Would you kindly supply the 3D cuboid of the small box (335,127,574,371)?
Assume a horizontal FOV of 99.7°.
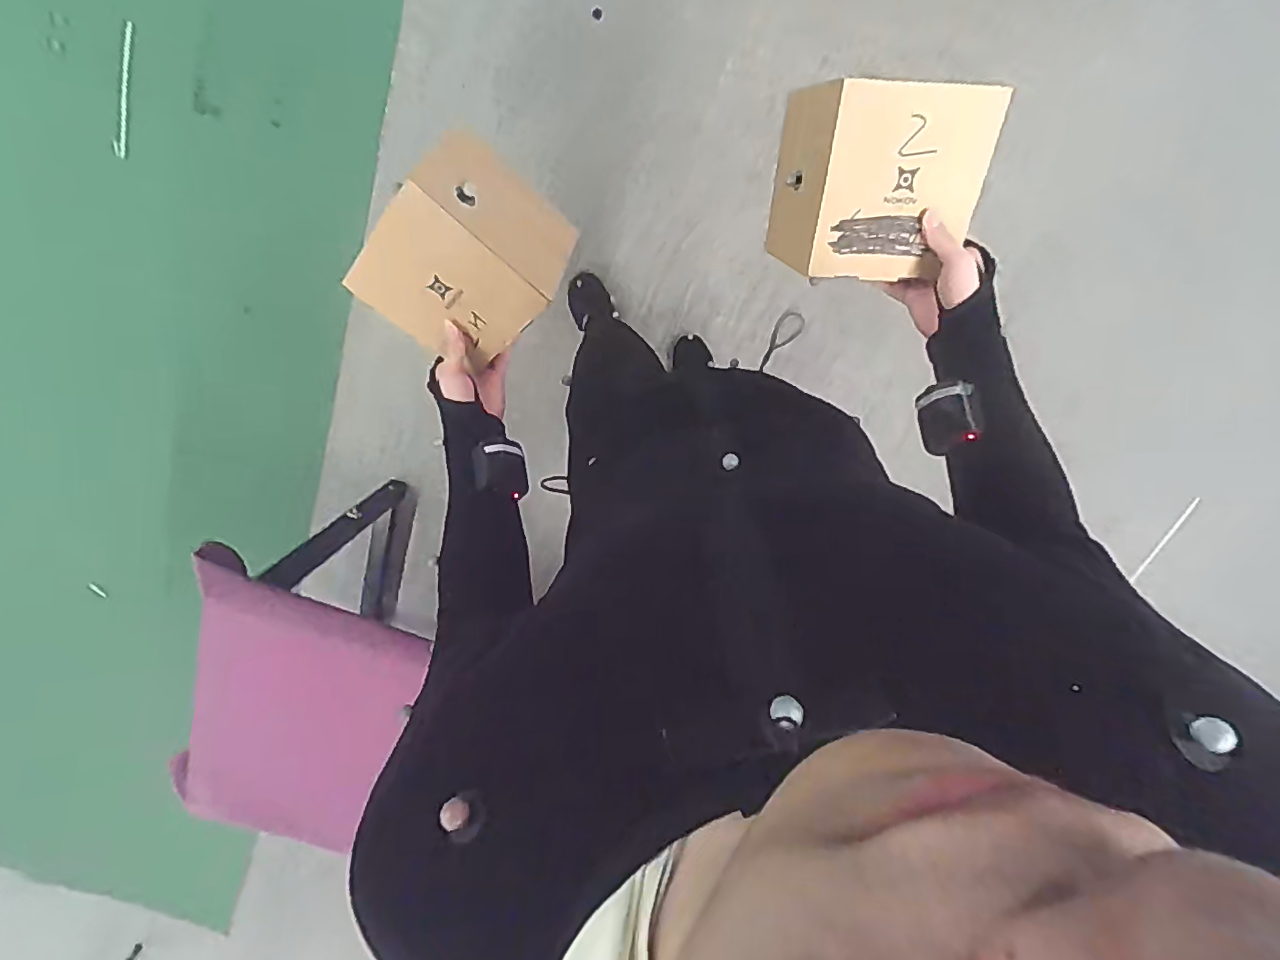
[{"bbox_3d":[-0.202,-0.269,0.628,0.168,0.176,0.179,-27,129,35],"label":"small box"}]
